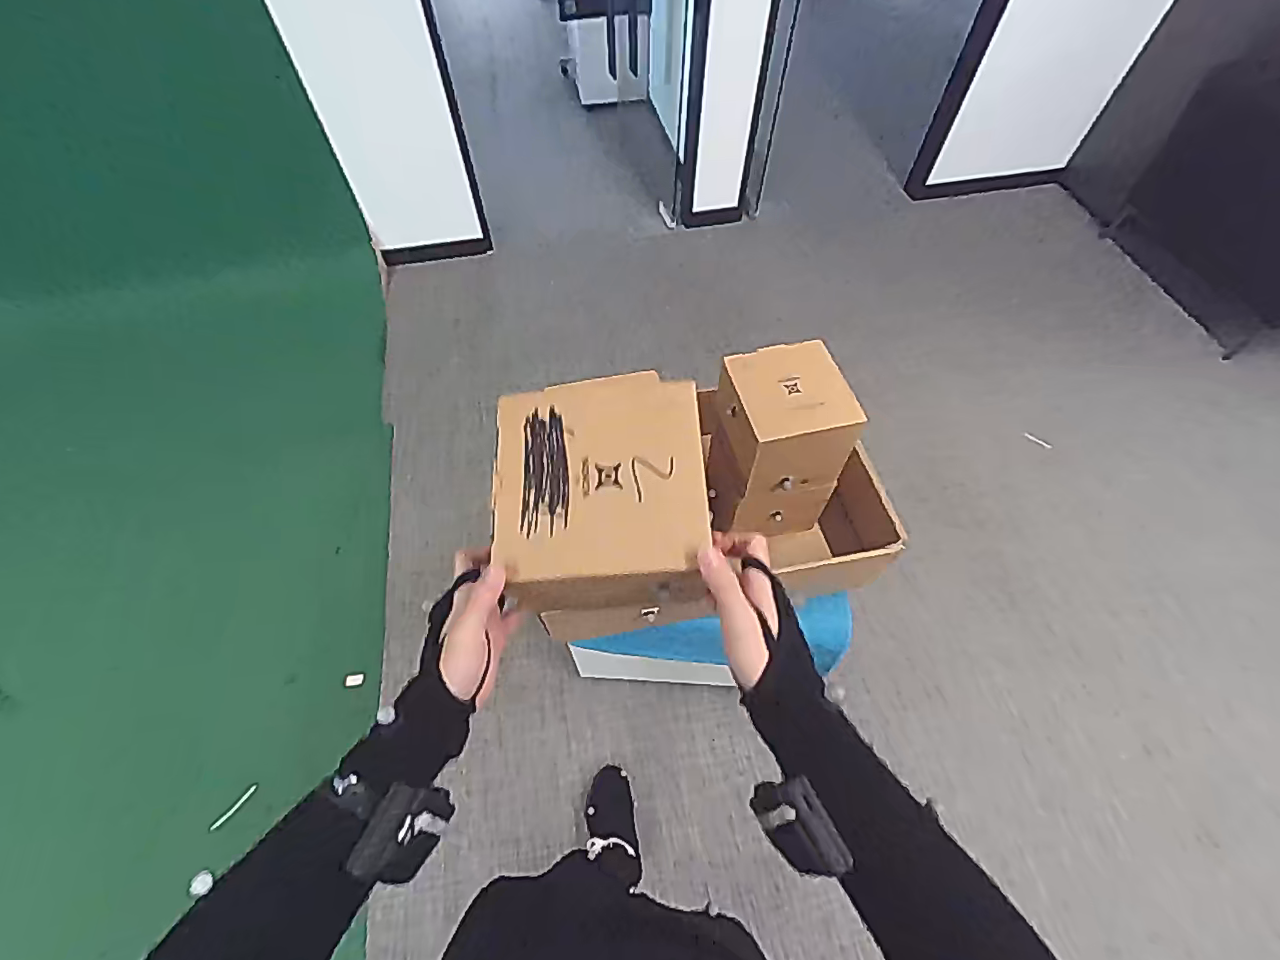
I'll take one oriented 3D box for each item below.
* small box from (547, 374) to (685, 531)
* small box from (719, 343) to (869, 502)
[{"bbox_3d":[-0.038,-0.036,0.837,0.179,0.176,0.168,-10,58,-7],"label":"small box"},{"bbox_3d":[0.232,-0.090,0.872,0.168,0.176,0.179,-11,57,-5],"label":"small box"}]
